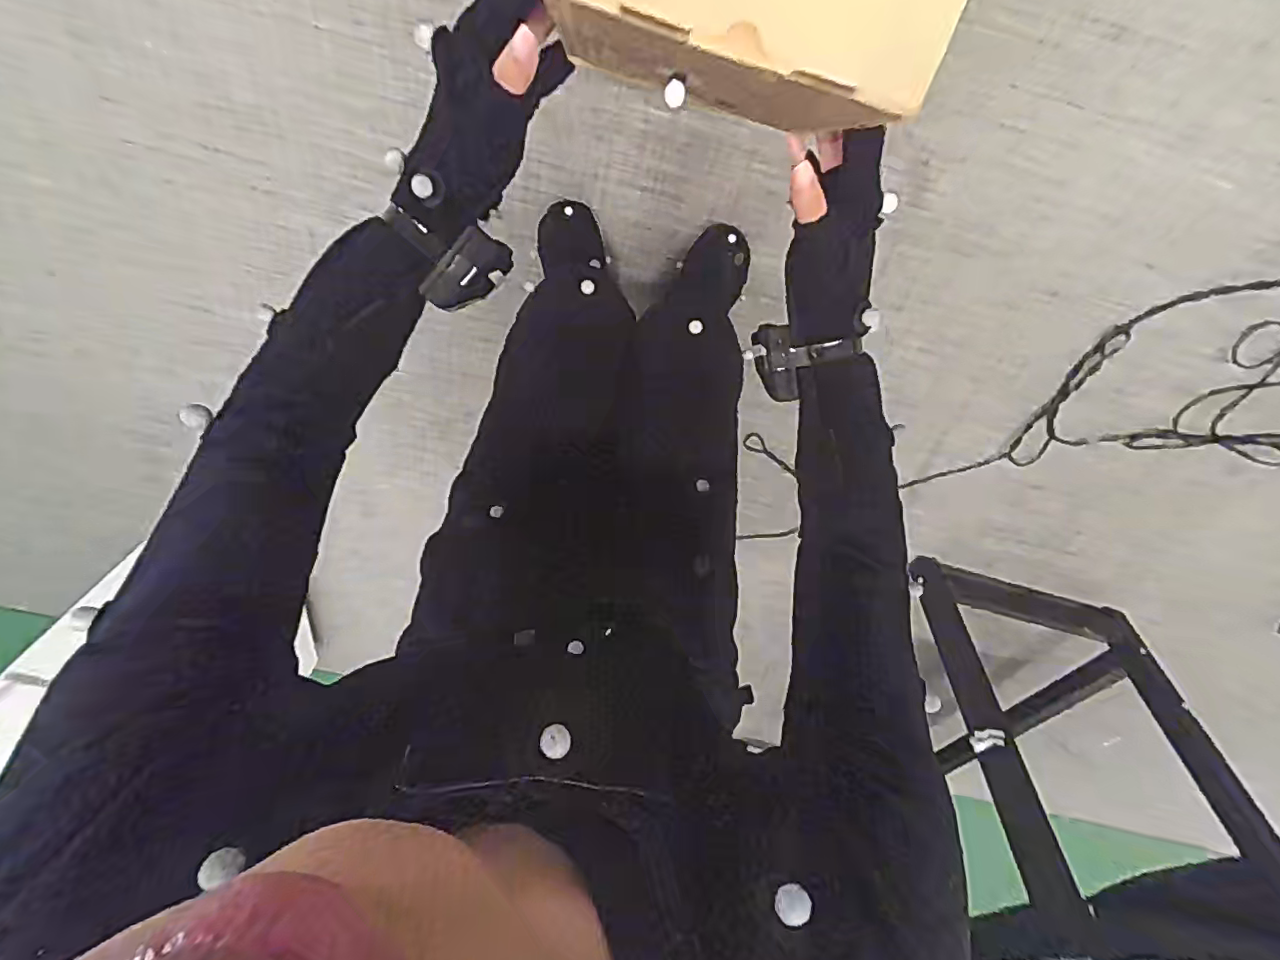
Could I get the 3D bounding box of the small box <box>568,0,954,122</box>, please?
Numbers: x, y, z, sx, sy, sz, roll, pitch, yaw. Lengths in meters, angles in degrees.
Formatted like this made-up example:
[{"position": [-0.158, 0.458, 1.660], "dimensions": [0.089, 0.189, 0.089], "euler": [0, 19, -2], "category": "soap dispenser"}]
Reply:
[{"position": [0.057, -0.295, 0.256], "dimensions": [0.168, 0.176, 0.179], "euler": [10, 119, -10], "category": "small box"}]
